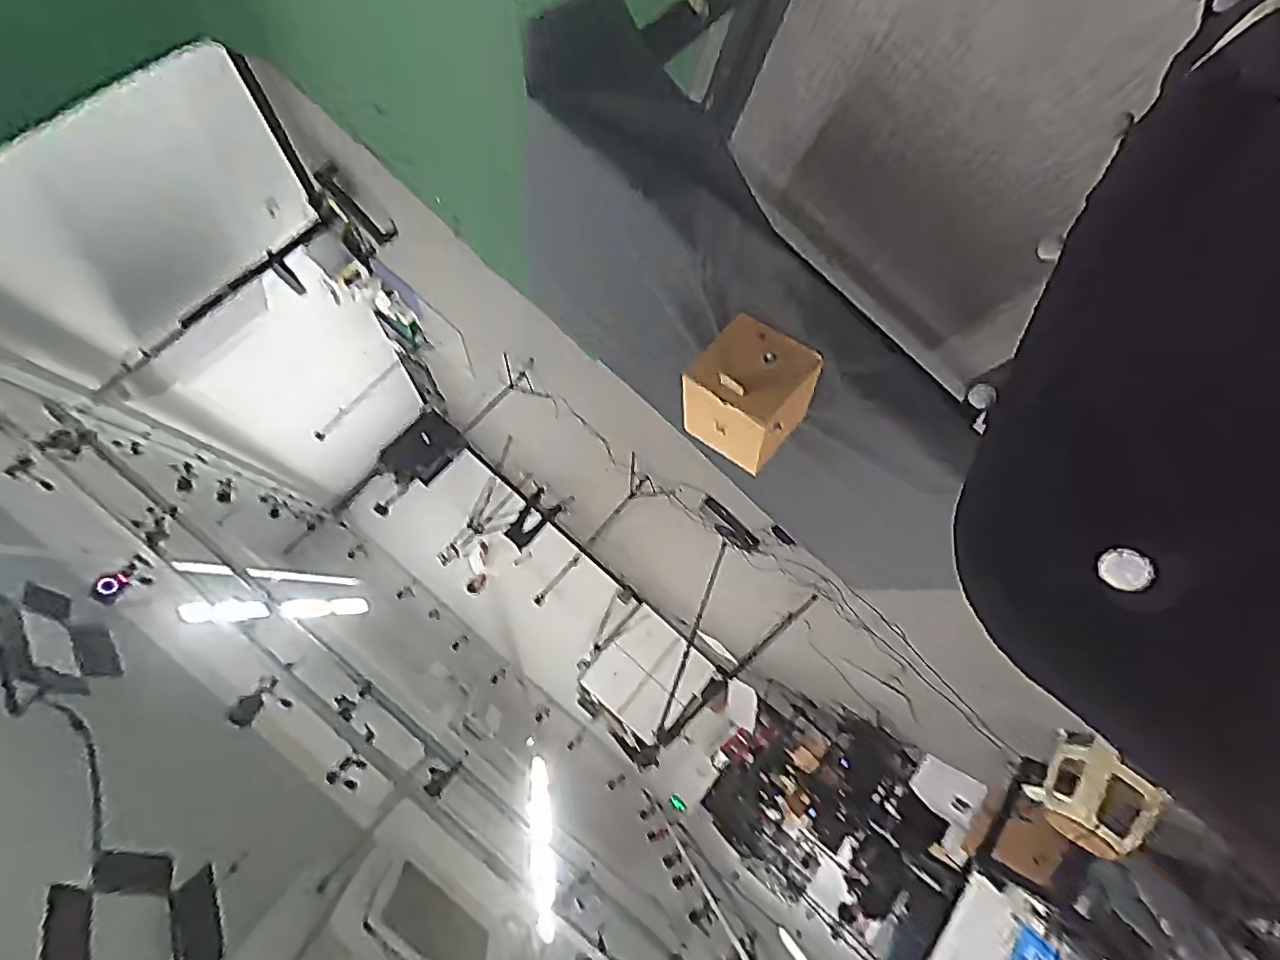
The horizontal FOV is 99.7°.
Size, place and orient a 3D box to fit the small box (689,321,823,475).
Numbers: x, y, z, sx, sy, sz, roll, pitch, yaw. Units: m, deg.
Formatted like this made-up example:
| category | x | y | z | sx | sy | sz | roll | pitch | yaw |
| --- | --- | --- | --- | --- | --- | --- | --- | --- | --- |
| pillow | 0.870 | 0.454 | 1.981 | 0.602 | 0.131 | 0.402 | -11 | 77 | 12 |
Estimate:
| category | x | y | z | sx | sy | sz | roll | pitch | yaw |
| --- | --- | --- | --- | --- | --- | --- | --- | --- | --- |
| small box | 0.205 | -0.146 | 0.970 | 0.168 | 0.176 | 0.179 | 36 | 163 | 21 |
